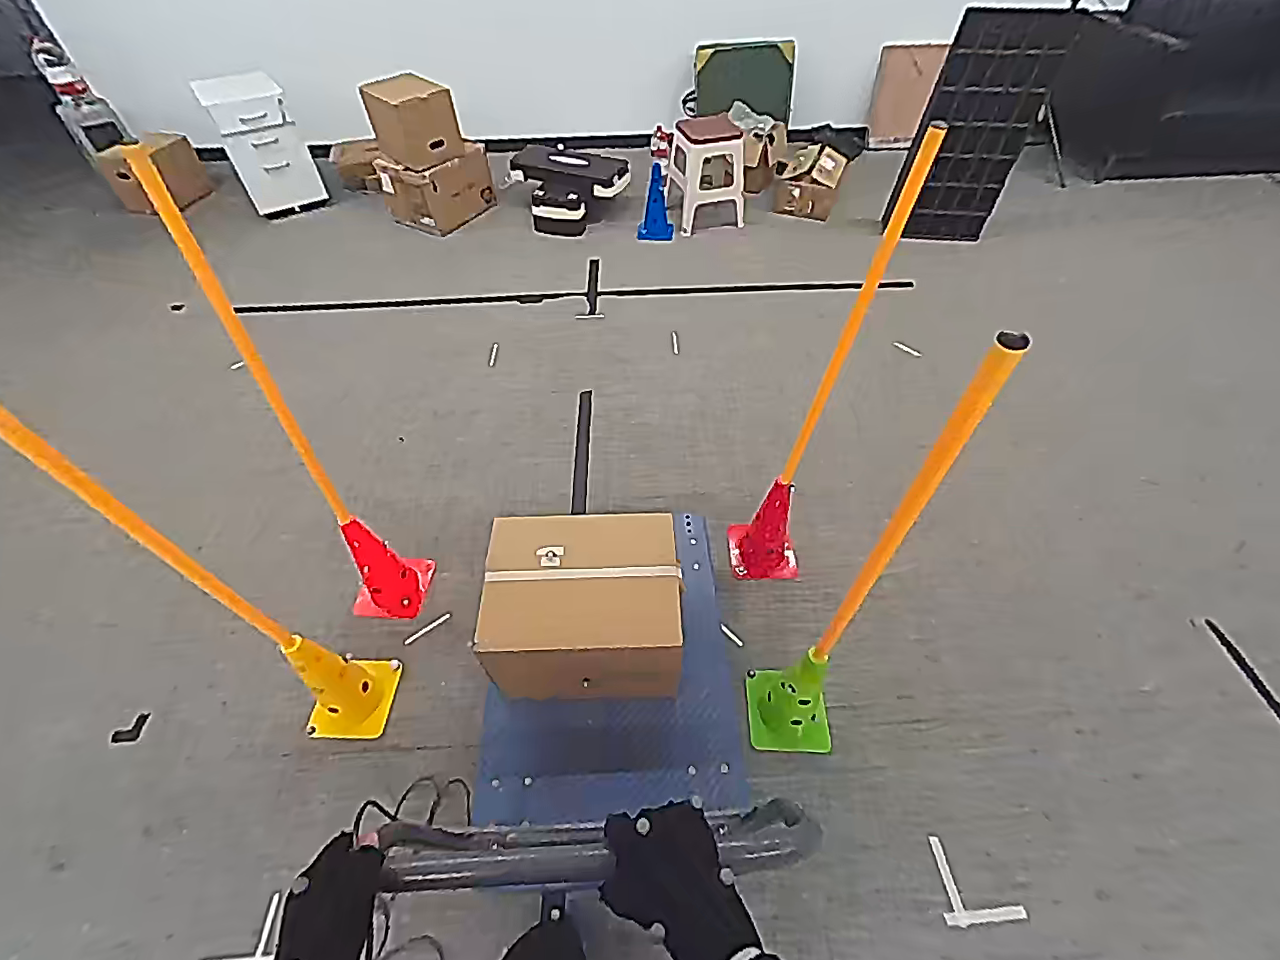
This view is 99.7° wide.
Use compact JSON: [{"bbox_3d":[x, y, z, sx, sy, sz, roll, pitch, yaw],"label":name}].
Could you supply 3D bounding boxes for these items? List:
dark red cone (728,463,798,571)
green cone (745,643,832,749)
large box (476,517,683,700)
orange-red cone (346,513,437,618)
[{"bbox_3d":[0.386,0.096,1.571,0.201,0.394,0.202,-1,50,-2],"label":"dark red cone"},{"bbox_3d":[0.379,0.479,1.274,0.202,0.368,0.200,2,50,1],"label":"green cone"},{"bbox_3d":[-0.117,0.303,1.247,0.408,0.320,0.320,-2,51,0],"label":"large box"},{"bbox_3d":[-0.741,0.211,1.523,0.198,0.360,0.199,5,49,4],"label":"orange-red cone"}]
